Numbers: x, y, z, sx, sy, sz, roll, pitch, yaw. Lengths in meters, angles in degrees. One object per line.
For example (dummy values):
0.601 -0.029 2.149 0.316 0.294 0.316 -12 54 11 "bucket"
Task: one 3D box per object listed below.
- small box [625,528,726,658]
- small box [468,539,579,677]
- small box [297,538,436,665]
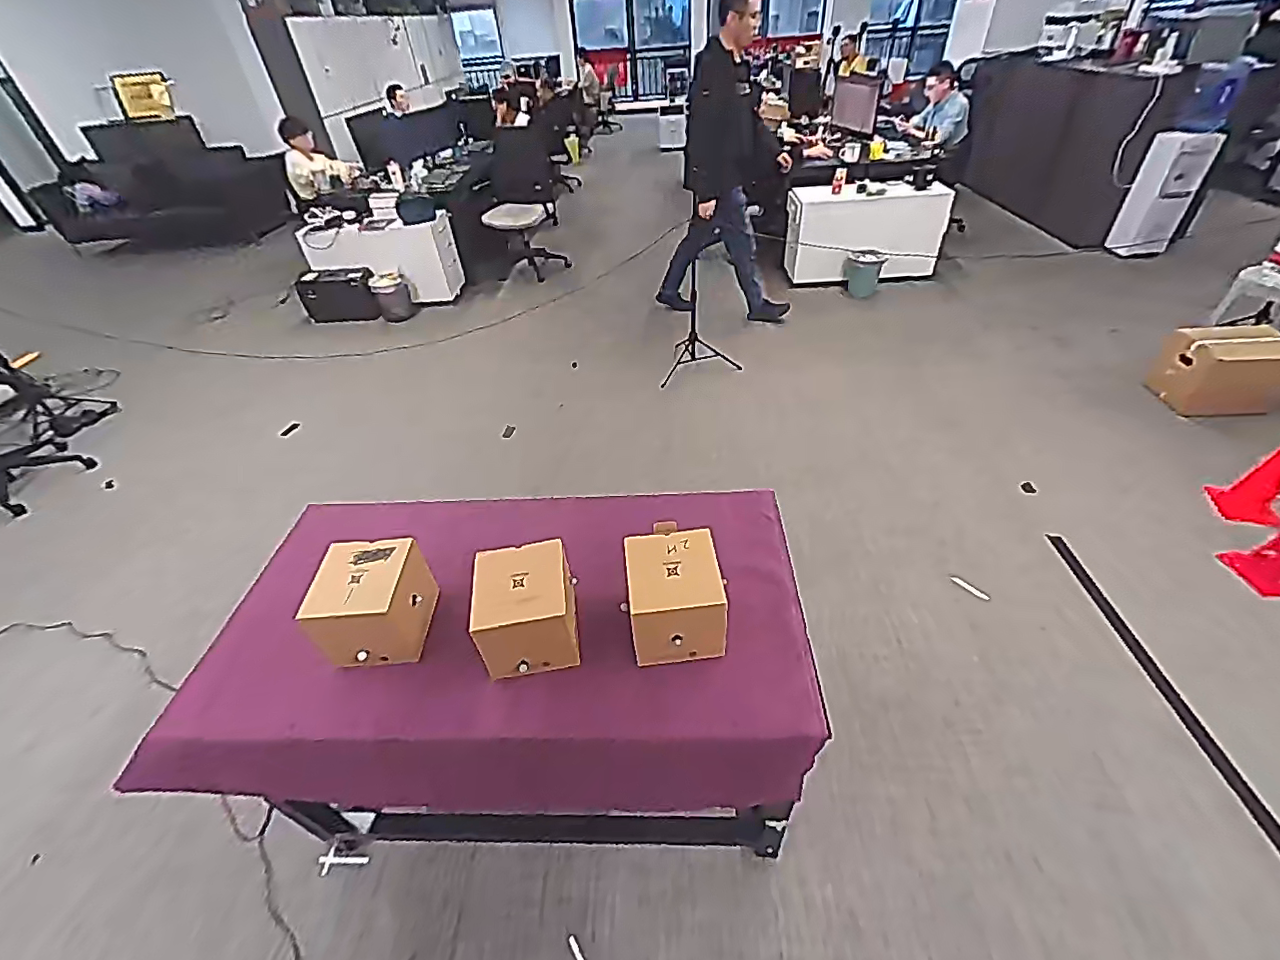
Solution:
0.065 0.216 1.012 0.168 0.176 0.179 -6 41 -1 "small box"
-0.211 0.240 1.016 0.168 0.176 0.179 -9 41 -3 "small box"
-0.515 0.235 1.052 0.168 0.176 0.179 -4 42 1 "small box"
